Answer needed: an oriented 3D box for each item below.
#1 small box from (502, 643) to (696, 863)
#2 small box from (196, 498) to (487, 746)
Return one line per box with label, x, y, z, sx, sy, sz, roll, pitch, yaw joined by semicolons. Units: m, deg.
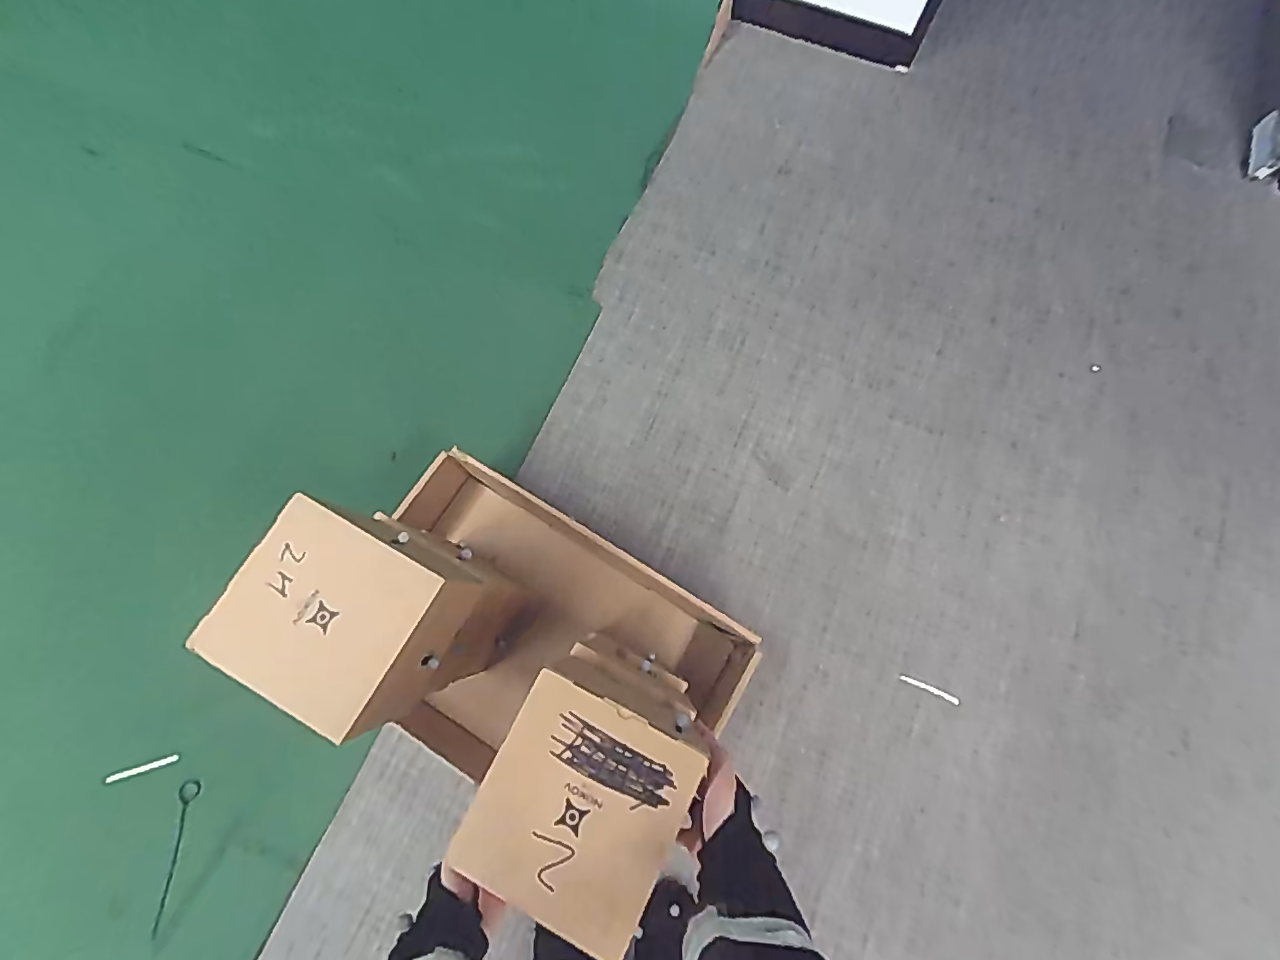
small box;-0.043;0.328;0.693;0.168;0.176;0.179;29;76;8
small box;-0.290;0.143;0.575;0.179;0.176;0.168;30;77;6
